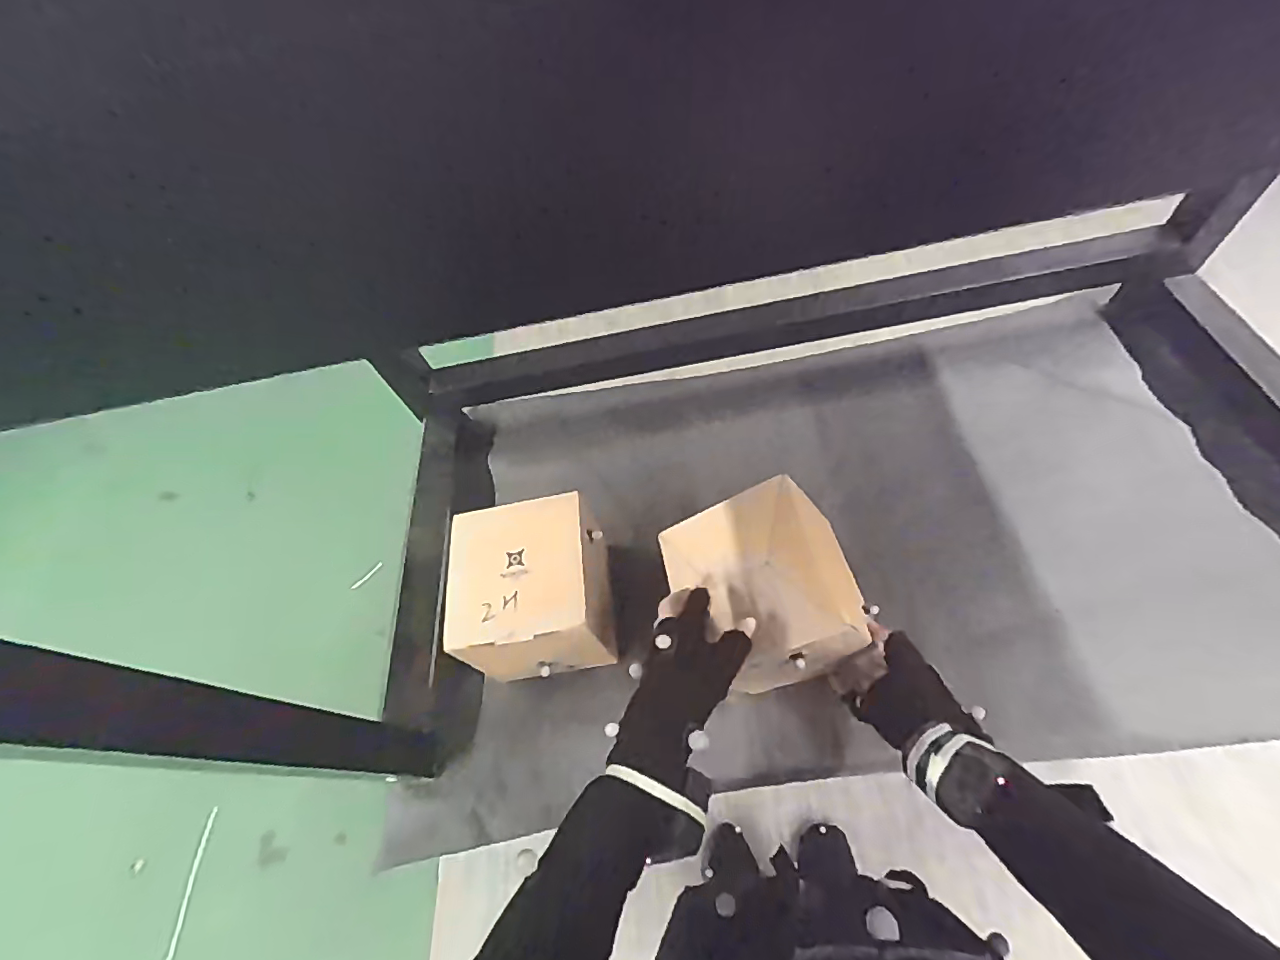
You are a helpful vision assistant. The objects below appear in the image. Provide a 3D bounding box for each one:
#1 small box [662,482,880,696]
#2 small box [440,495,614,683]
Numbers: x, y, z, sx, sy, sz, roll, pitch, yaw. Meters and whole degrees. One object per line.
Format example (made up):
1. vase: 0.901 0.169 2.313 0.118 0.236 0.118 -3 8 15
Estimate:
1. small box: 0.144 0.128 0.618 0.168 0.176 0.179 -29 53 22
2. small box: -0.134 0.145 0.698 0.168 0.176 0.179 -11 56 6
